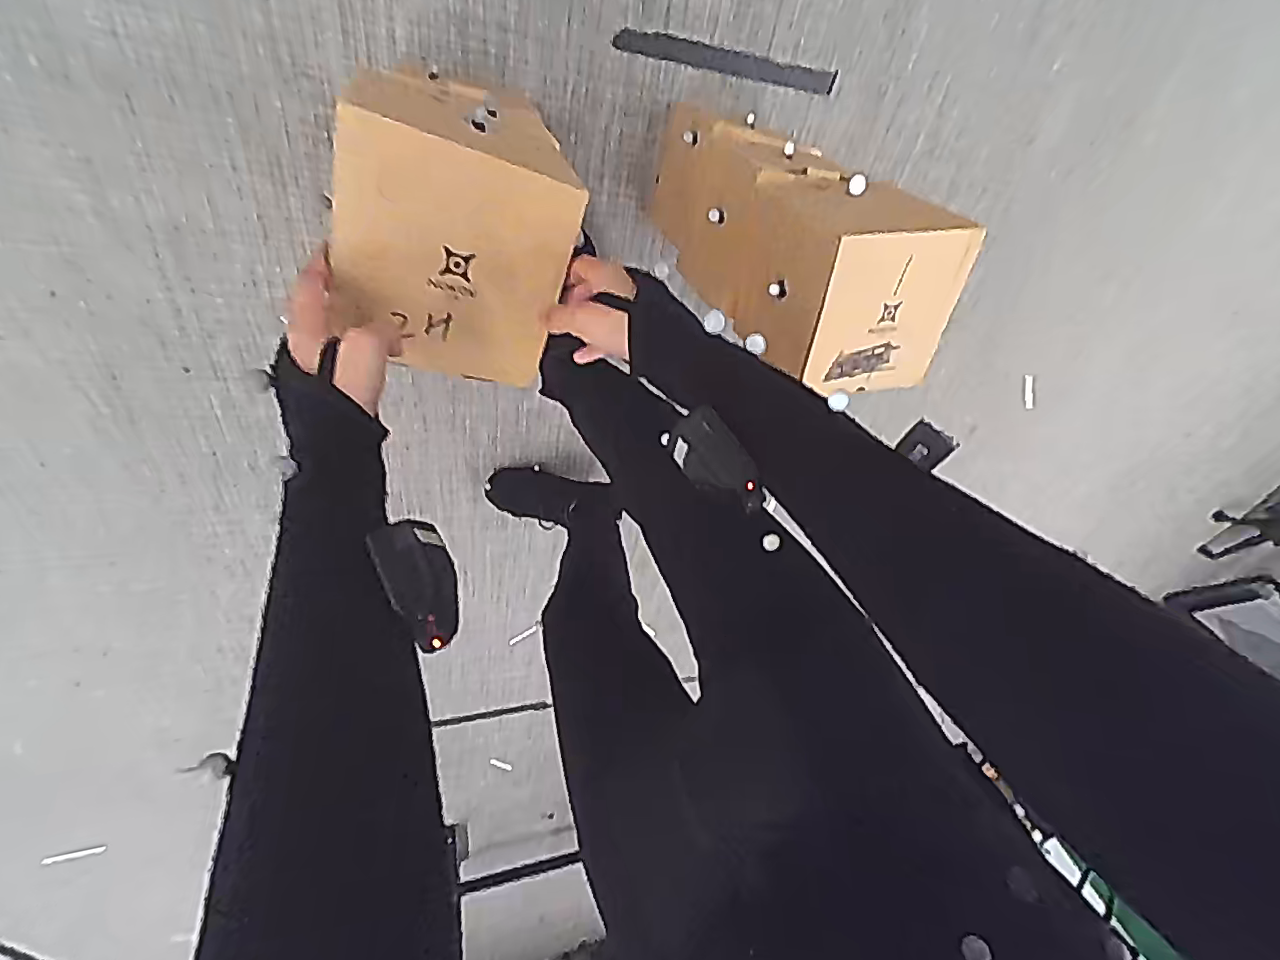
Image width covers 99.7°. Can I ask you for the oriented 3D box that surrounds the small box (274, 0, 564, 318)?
[{"bbox_3d":[-0.176,-0.260,0.424,0.168,0.176,0.179,6,129,-27],"label":"small box"}]

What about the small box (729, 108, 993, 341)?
[{"bbox_3d":[0.208,-0.270,0.569,0.168,0.176,0.179,-9,134,-15],"label":"small box"}]
